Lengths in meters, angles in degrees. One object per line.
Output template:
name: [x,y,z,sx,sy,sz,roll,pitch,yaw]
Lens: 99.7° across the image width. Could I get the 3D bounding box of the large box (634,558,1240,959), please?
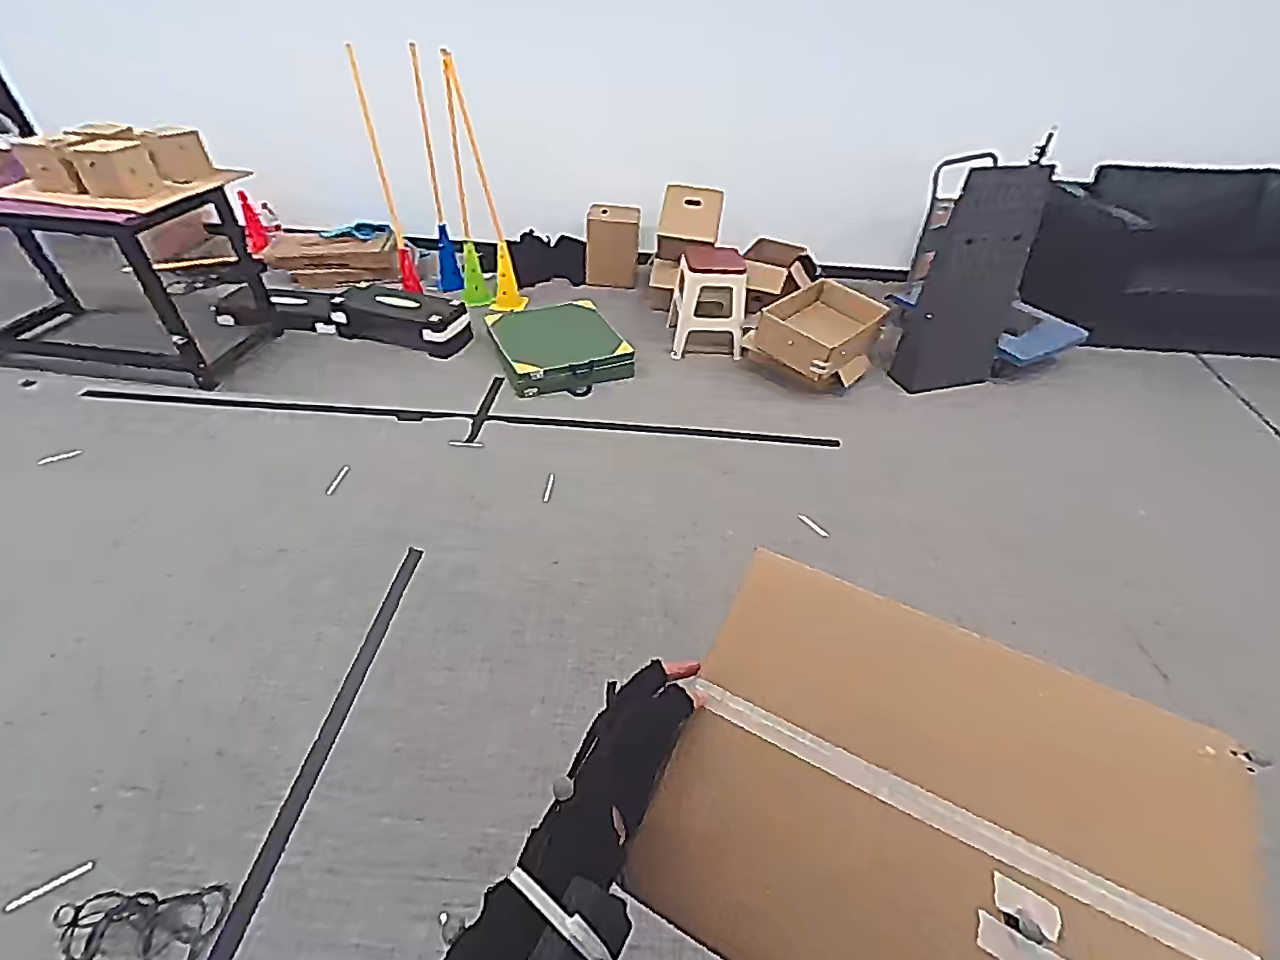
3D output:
large box: [0.245,0.342,0.556,0.408,0.320,0.320,22,61,18]
